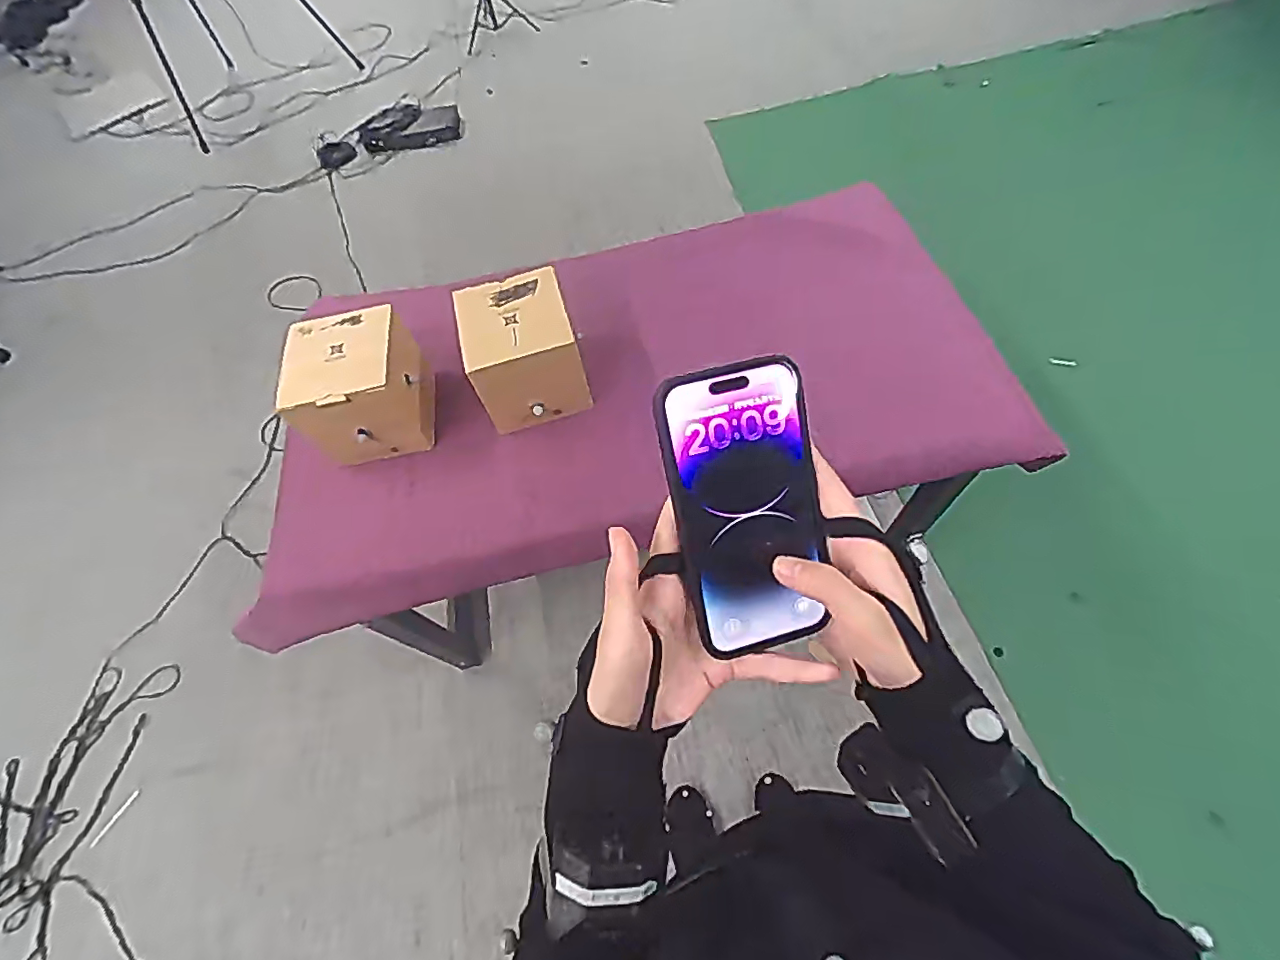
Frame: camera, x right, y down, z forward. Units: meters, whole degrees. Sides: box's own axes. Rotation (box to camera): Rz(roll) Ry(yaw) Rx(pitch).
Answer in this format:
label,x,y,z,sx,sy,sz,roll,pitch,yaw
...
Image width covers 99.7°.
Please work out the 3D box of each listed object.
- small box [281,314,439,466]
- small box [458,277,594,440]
label,x,y,z,sx,sy,sz,roll,pitch,yaw
small box,-0.446,-0.138,0.891,0.168,0.176,0.179,-12,60,0
small box,-0.184,-0.196,0.893,0.168,0.176,0.179,-16,60,-2
